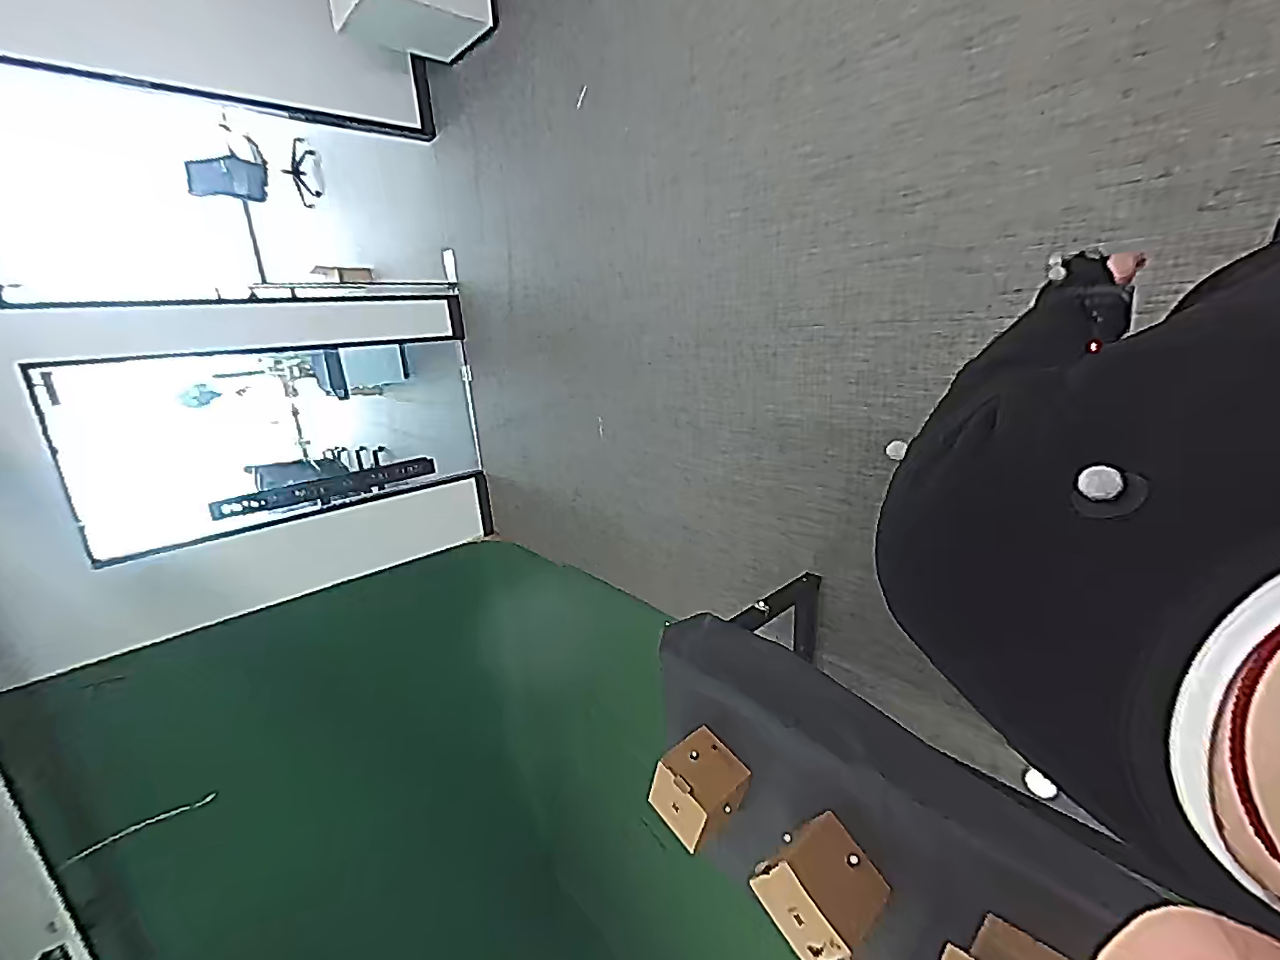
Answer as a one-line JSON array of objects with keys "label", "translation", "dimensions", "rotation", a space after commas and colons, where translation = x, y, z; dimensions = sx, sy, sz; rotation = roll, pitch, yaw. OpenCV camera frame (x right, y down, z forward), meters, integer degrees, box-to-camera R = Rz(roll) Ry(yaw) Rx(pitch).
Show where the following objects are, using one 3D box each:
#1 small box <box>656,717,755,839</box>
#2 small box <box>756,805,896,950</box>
[{"label": "small box", "translation": [0.166, 0.741, 1.361], "dimensions": [0.168, 0.176, 0.179], "rotation": [36, 130, 39]}, {"label": "small box", "translation": [0.383, 0.812, 1.120], "dimensions": [0.179, 0.176, 0.168], "rotation": [51, 136, 27]}]
